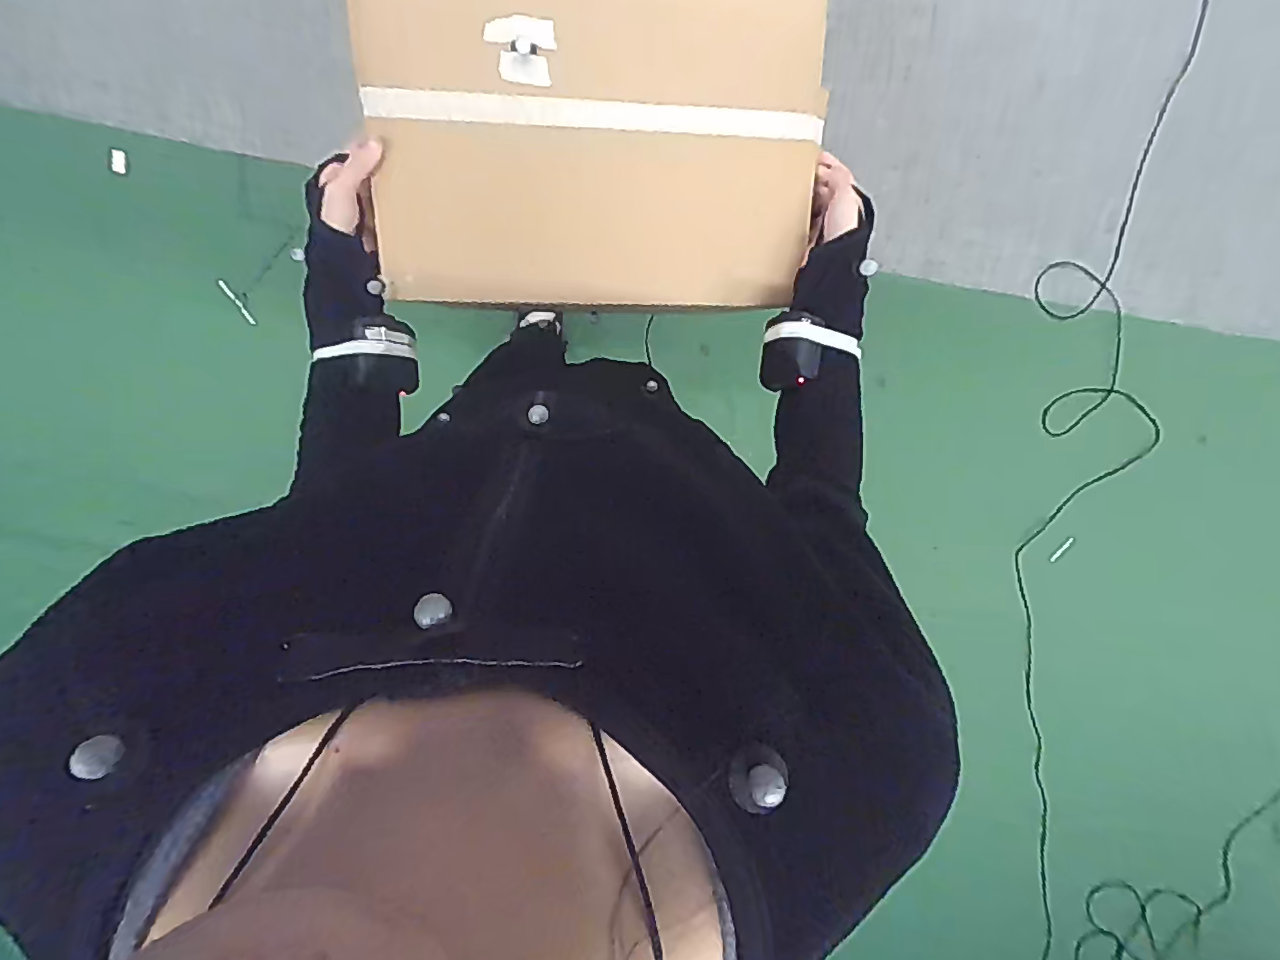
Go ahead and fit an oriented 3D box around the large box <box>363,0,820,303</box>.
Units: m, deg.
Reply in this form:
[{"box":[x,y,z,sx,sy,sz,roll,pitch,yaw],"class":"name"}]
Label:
[{"box":[-0.052,-0.374,0.635,0.408,0.320,0.320,-1,106,-8],"class":"large box"}]
